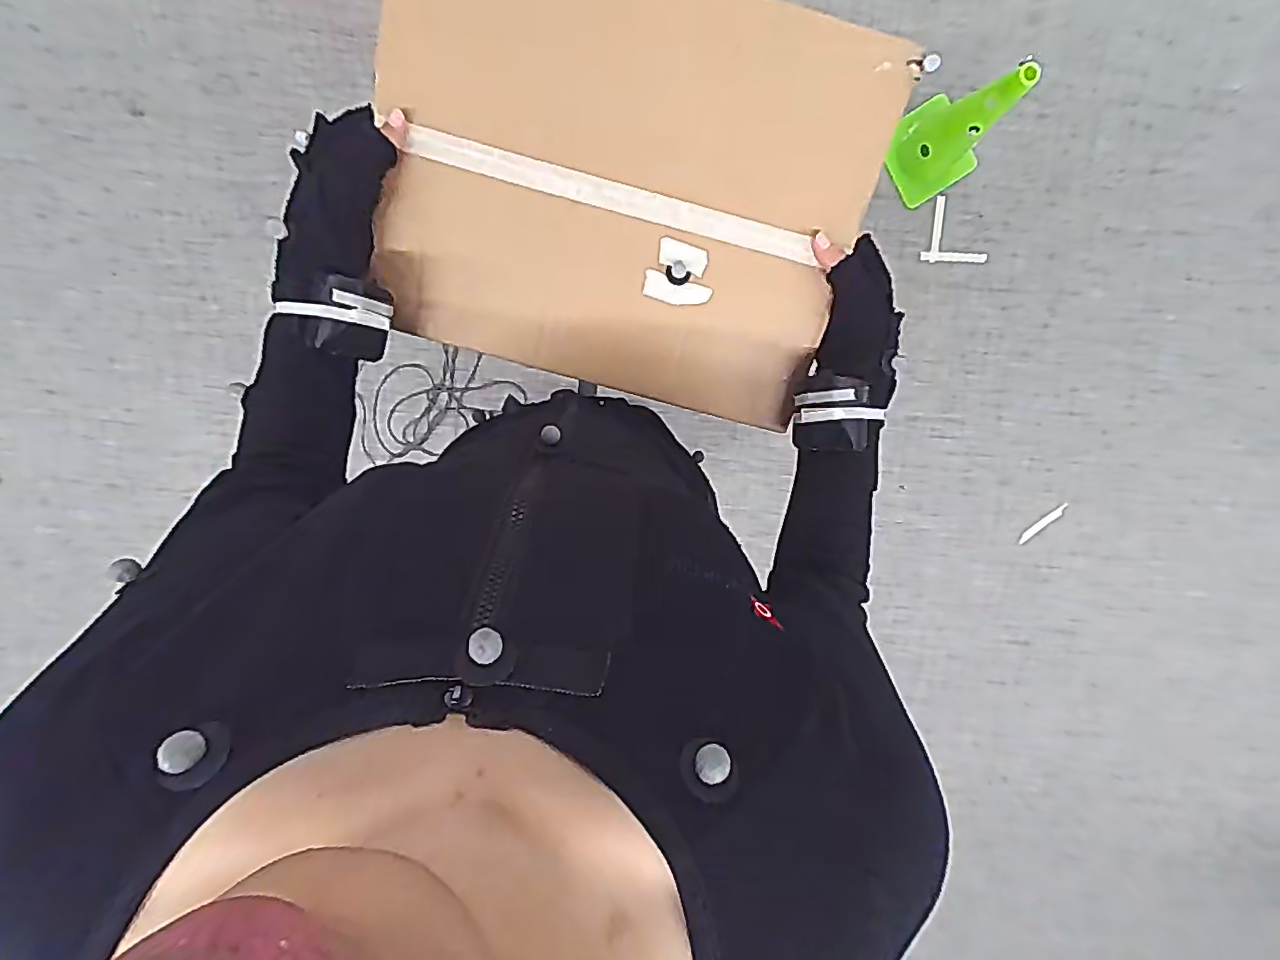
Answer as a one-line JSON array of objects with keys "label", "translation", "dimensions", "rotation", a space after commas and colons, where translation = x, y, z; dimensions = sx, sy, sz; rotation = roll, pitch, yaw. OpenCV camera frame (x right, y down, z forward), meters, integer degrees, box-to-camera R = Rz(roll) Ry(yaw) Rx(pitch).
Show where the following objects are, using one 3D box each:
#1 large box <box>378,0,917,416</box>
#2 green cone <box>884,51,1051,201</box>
[{"label": "large box", "translation": [-0.011, -0.293, 0.594], "dimensions": [0.408, 0.320, 0.320], "rotation": [14, 110, -4]}, {"label": "green cone", "translation": [0.723, -0.792, 1.165], "dimensions": [0.202, 0.368, 0.200], "rotation": [-33, 101, 3]}]
